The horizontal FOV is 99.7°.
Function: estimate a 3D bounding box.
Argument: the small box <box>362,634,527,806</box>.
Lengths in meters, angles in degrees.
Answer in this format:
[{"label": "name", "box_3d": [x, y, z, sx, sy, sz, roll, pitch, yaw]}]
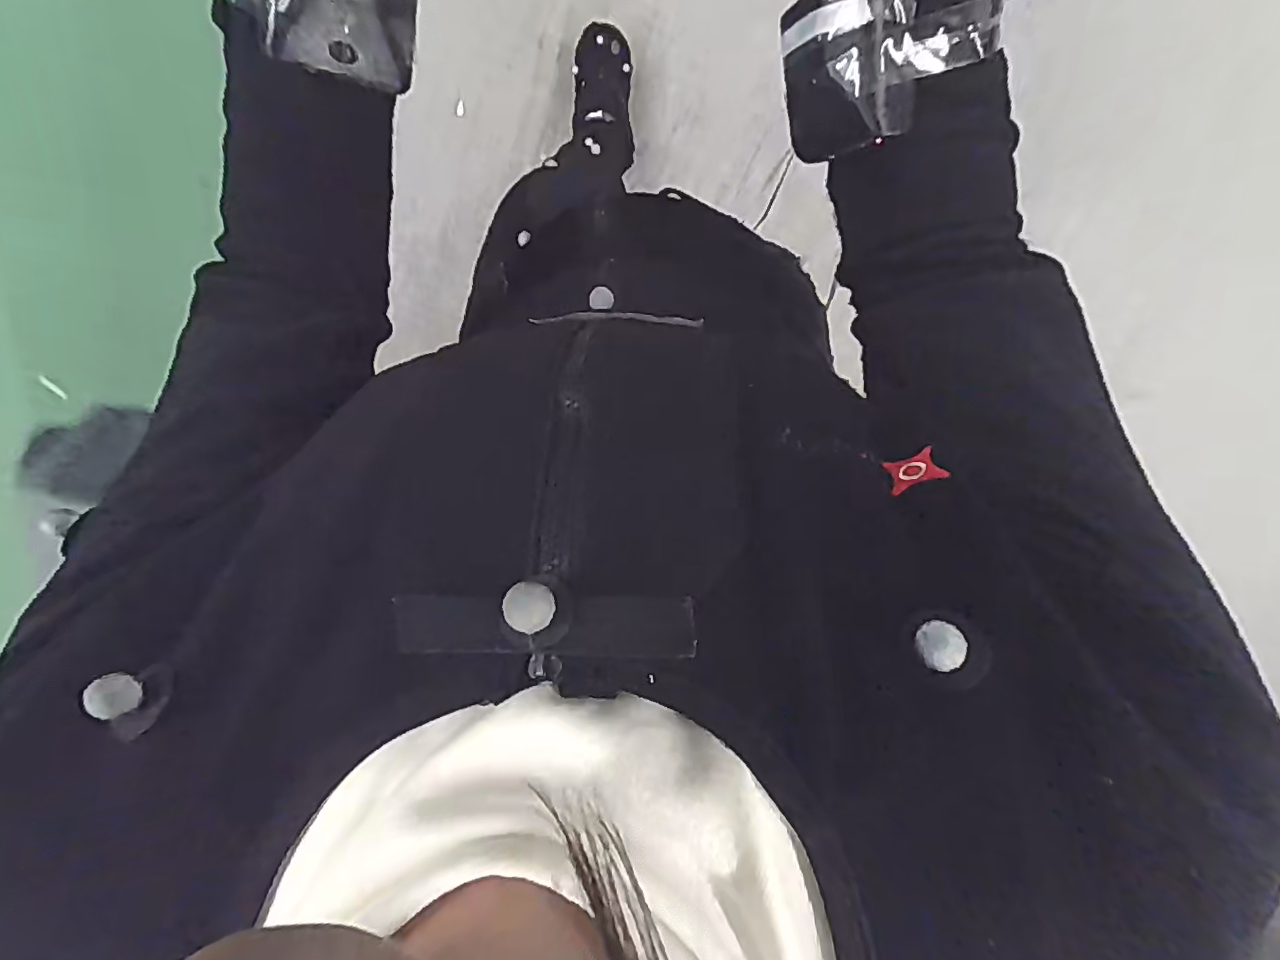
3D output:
[{"label": "small box", "box_3d": [-0.303, 0.374, 0.862, 0.179, 0.176, 0.168, 24, 121, -9]}]
